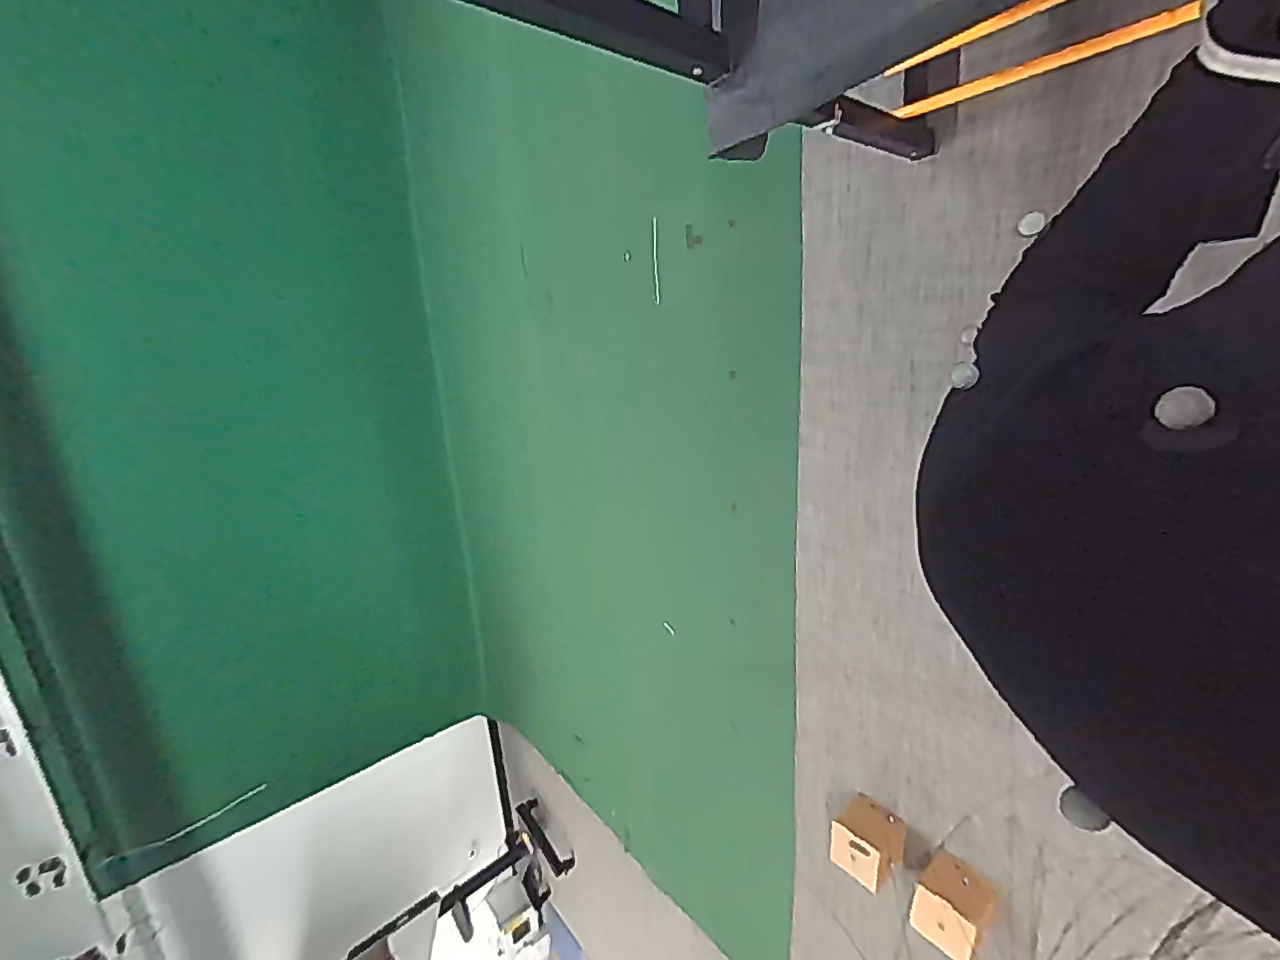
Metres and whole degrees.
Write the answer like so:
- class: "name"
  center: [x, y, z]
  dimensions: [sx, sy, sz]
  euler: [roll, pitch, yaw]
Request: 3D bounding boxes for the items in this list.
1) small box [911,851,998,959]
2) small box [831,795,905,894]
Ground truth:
- class: "small box"
  center: [0.933, 1.264, 1.603]
  dimensions: [0.168, 0.176, 0.179]
  euler: [17, 114, 48]
- class: "small box"
  center: [0.760, 1.203, 1.799]
  dimensions: [0.168, 0.176, 0.179]
  euler: [16, 115, 48]
